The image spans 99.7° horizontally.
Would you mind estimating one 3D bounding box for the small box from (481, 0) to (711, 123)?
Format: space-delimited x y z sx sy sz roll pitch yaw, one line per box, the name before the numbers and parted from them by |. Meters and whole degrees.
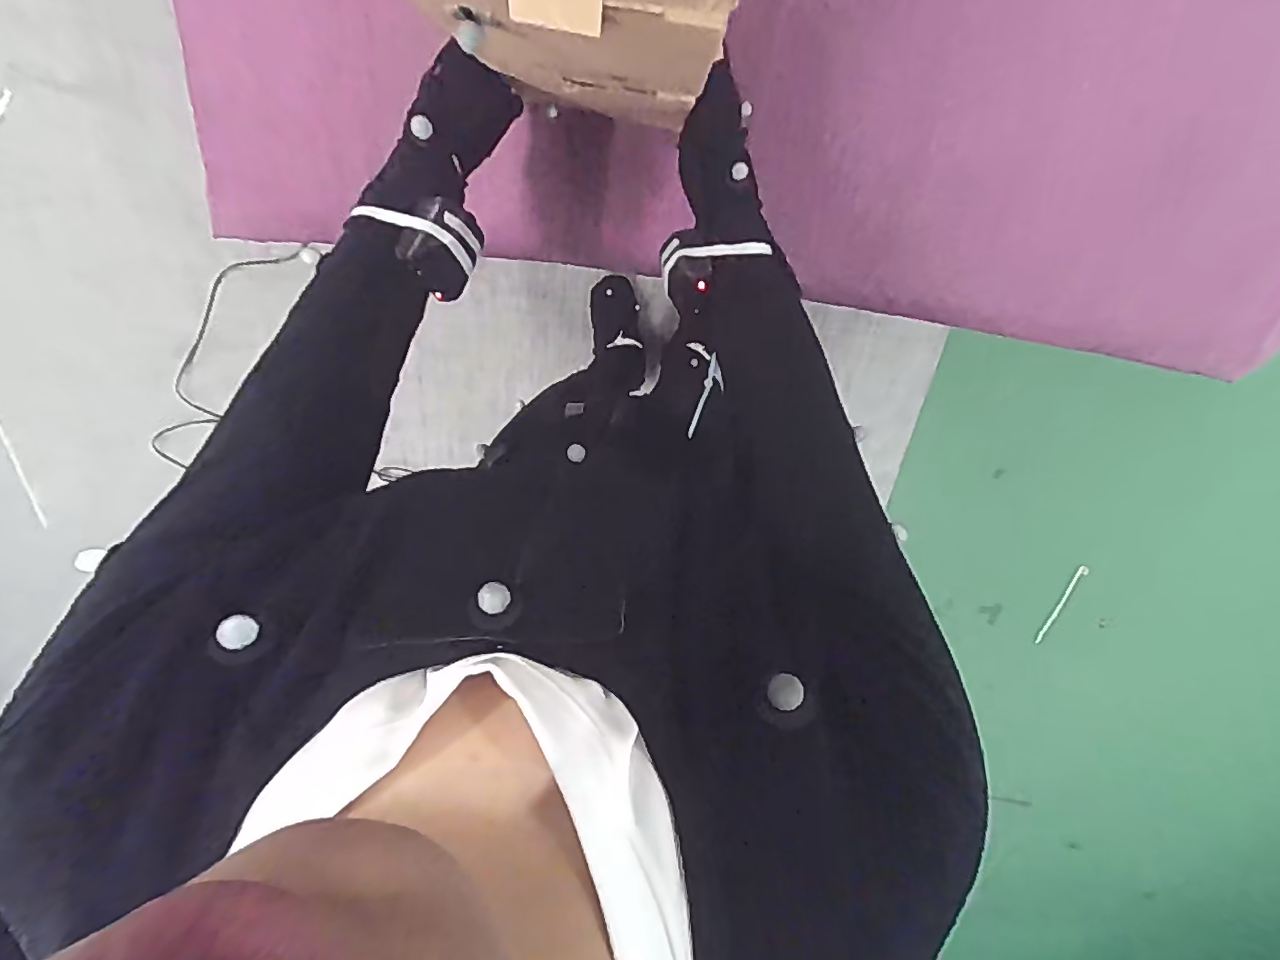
small box | -0.022 -0.414 0.441 0.168 0.176 0.179 9 116 -3
